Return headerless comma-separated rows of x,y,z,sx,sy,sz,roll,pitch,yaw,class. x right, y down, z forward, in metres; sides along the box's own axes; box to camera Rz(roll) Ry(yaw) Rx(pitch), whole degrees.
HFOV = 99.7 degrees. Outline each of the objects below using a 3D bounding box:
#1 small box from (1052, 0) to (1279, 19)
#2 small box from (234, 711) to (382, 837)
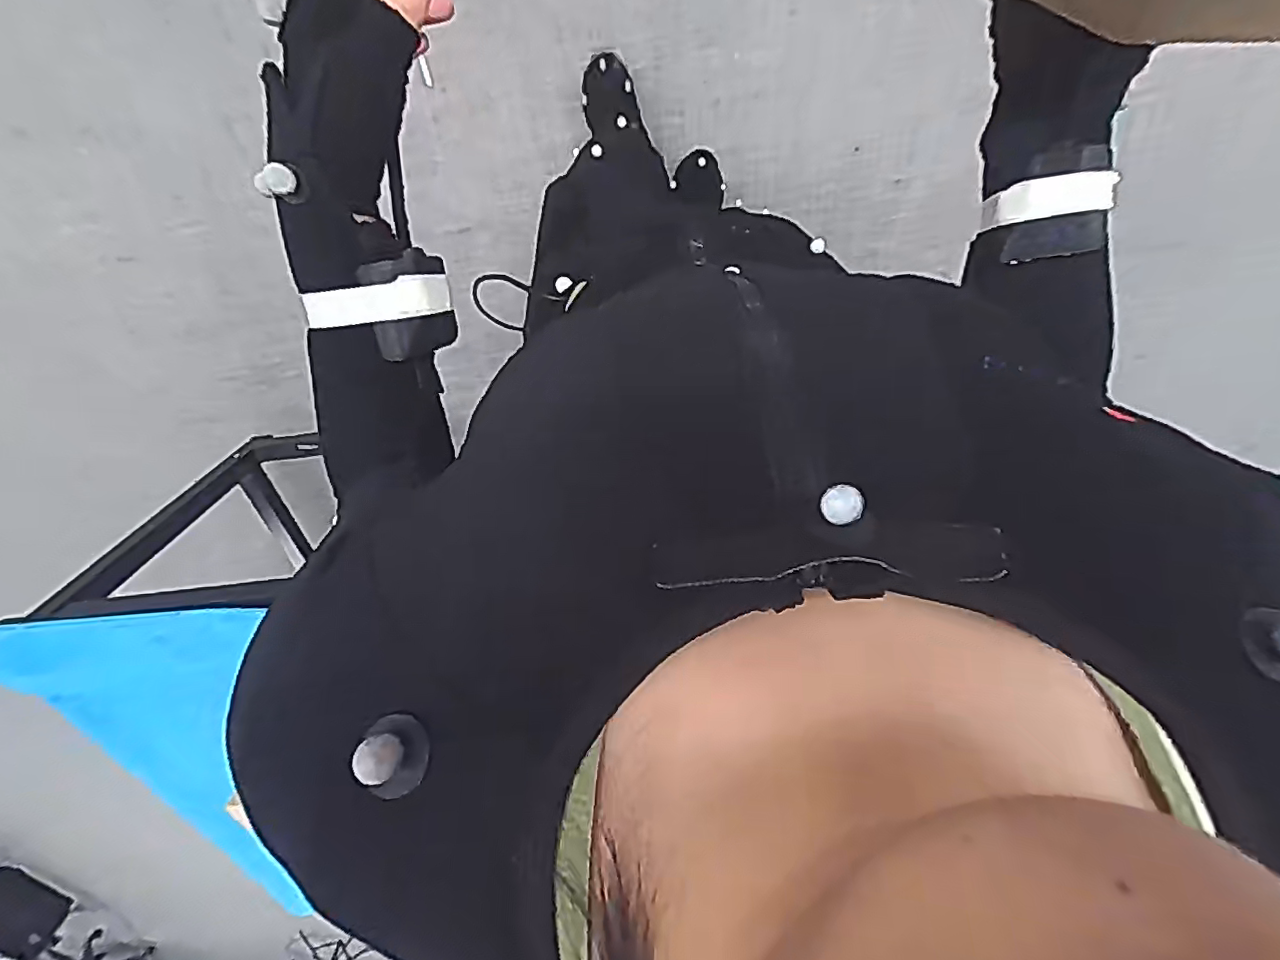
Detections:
0.211,-0.289,0.187,0.179,0.176,0.168,14,128,-7,small box
-0.667,0.604,1.115,0.168,0.176,0.179,-7,123,5,small box
